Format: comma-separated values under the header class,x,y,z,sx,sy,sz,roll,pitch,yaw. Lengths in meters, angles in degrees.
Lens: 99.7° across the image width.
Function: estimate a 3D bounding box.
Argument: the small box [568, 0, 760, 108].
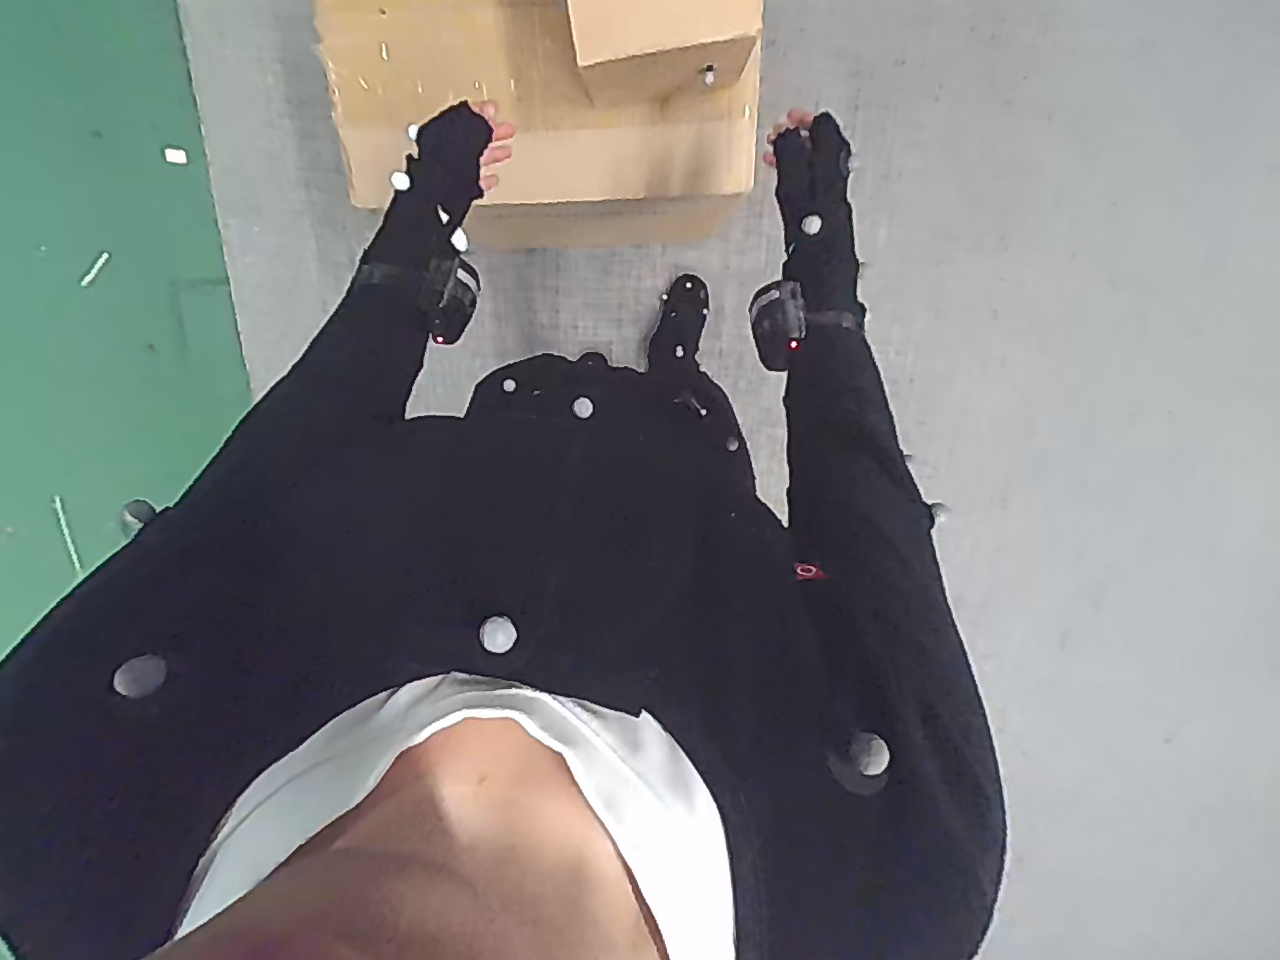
class,x,y,z,sx,sy,sz,roll,pitch,yaw
small box,0.018,-0.510,0.554,0.179,0.176,0.168,-7,111,7
